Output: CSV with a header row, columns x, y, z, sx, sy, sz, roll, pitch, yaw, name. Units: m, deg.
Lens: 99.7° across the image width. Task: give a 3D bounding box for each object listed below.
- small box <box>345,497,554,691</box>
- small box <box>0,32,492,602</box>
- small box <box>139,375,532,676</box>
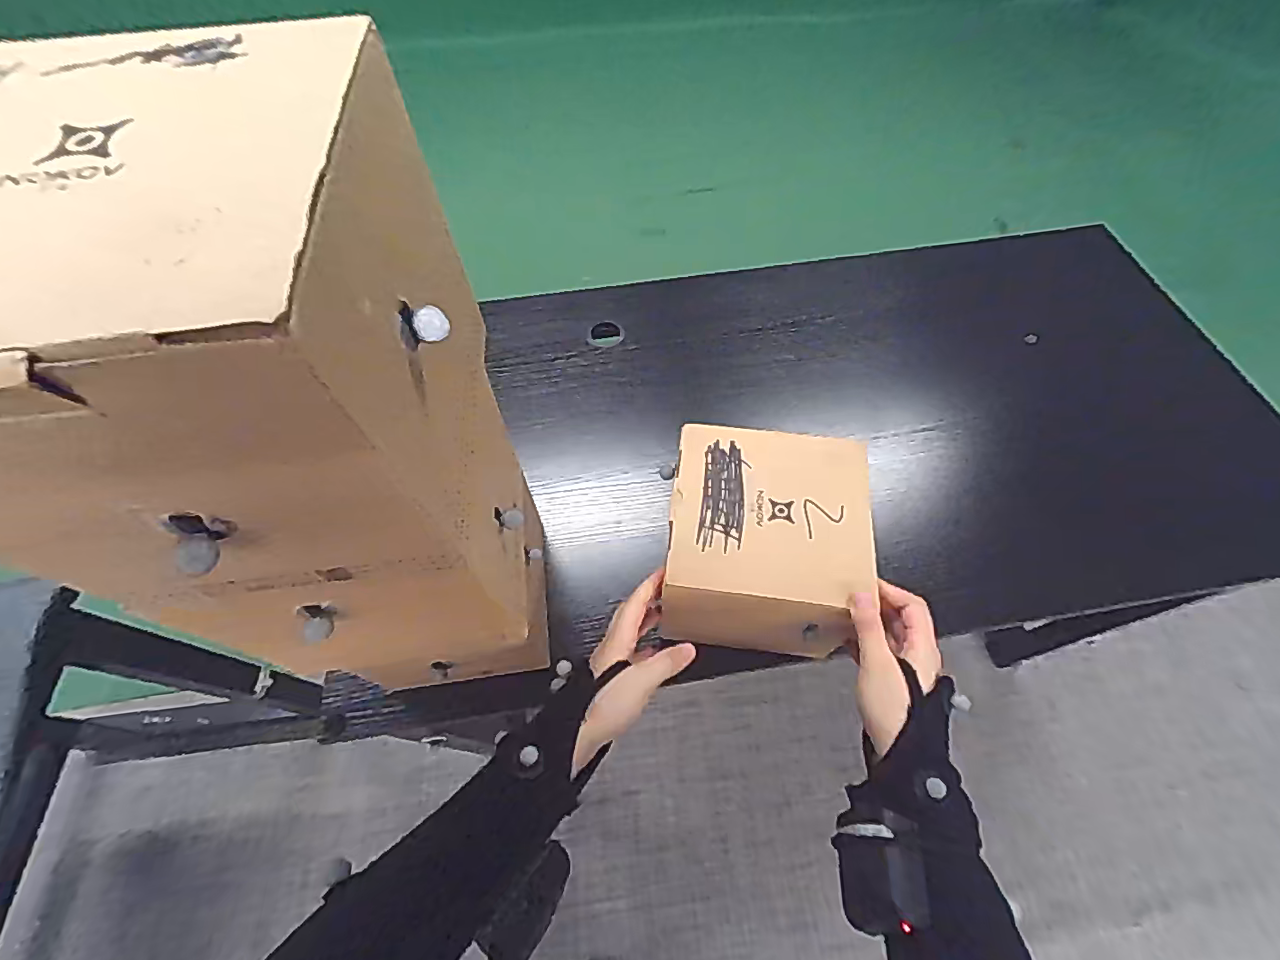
x,y,z,sx,sy,sz,roll,pitch,yaw,name
-0.181,0.100,0.530,0.168,0.176,0.179,-7,59,-4,small box
-0.168,-0.053,0.241,0.168,0.176,0.179,-7,61,-2,small box
-0.175,0.030,0.383,0.179,0.176,0.168,-8,60,-3,small box
